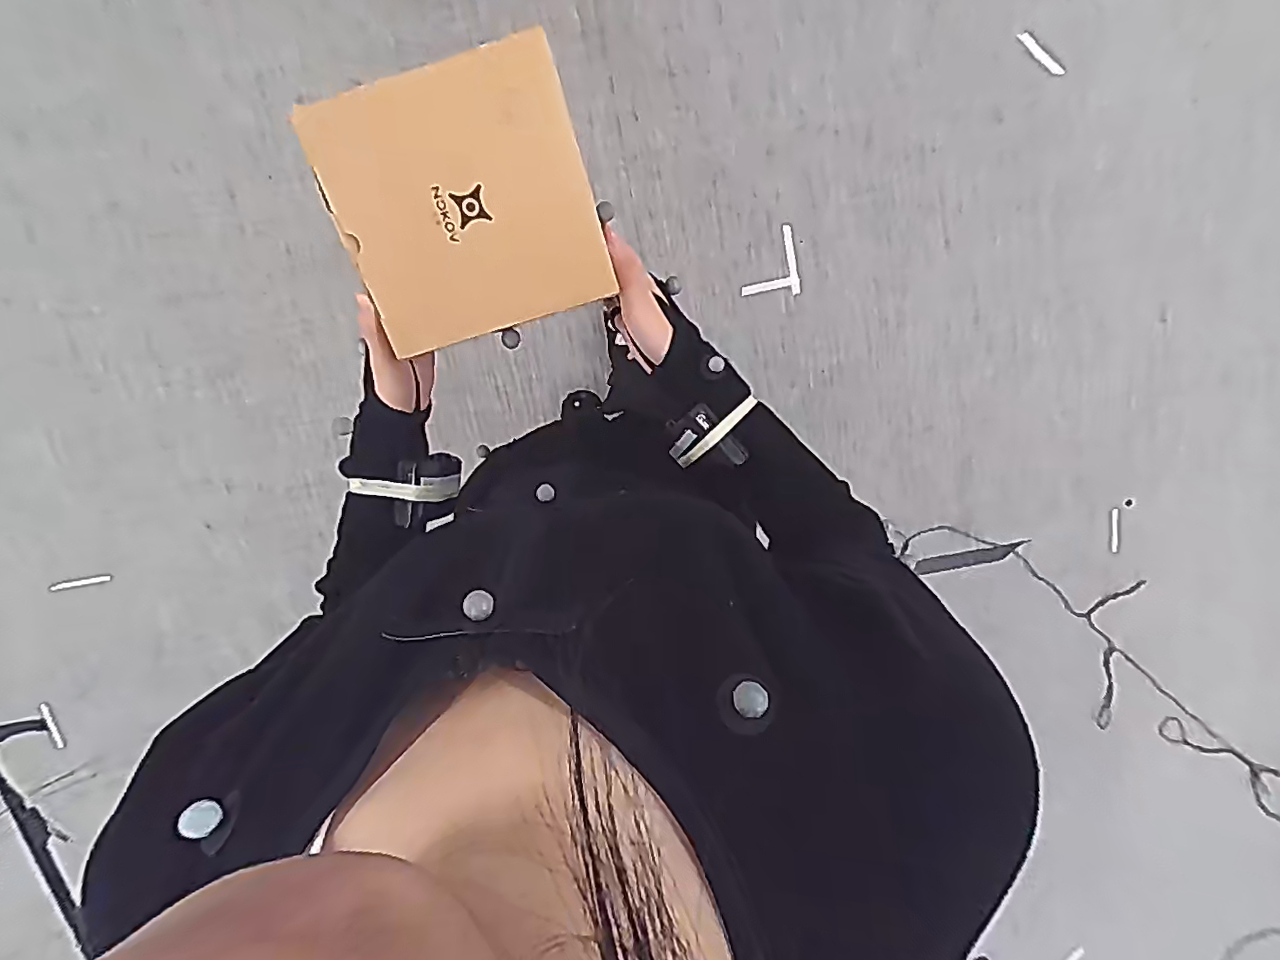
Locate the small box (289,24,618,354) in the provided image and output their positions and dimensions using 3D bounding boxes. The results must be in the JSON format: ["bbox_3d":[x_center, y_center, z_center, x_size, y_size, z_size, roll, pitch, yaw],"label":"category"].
[{"bbox_3d":[-0.125,-0.218,0.442,0.179,0.176,0.168,-17,111,3],"label":"small box"}]
